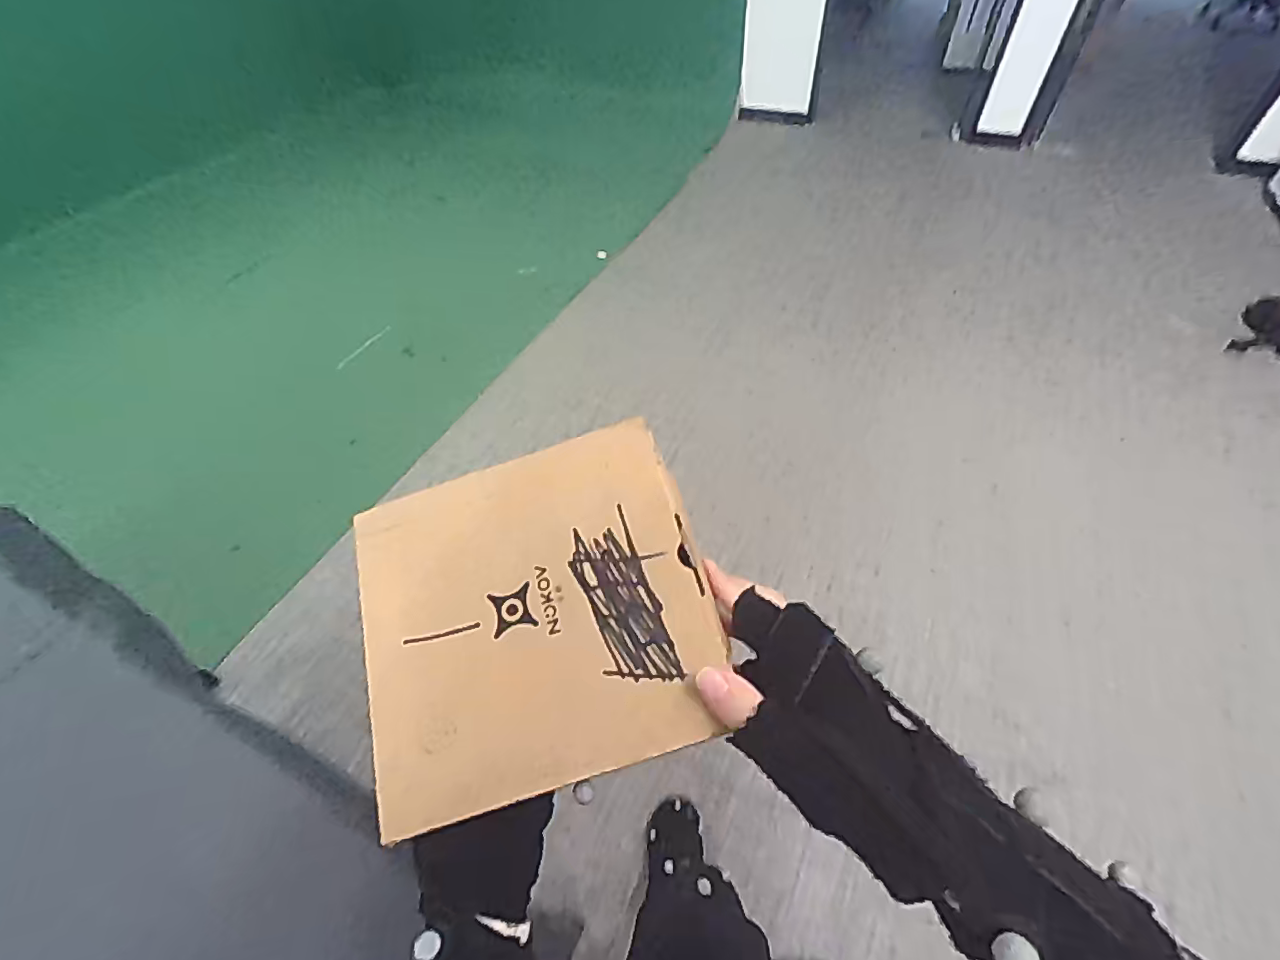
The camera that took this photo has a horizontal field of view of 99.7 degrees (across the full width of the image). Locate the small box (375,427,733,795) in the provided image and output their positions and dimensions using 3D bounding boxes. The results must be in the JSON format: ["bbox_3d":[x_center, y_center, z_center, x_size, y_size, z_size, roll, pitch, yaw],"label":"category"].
[{"bbox_3d":[-0.051,0.092,0.374,0.179,0.176,0.168,-17,66,-2],"label":"small box"}]
